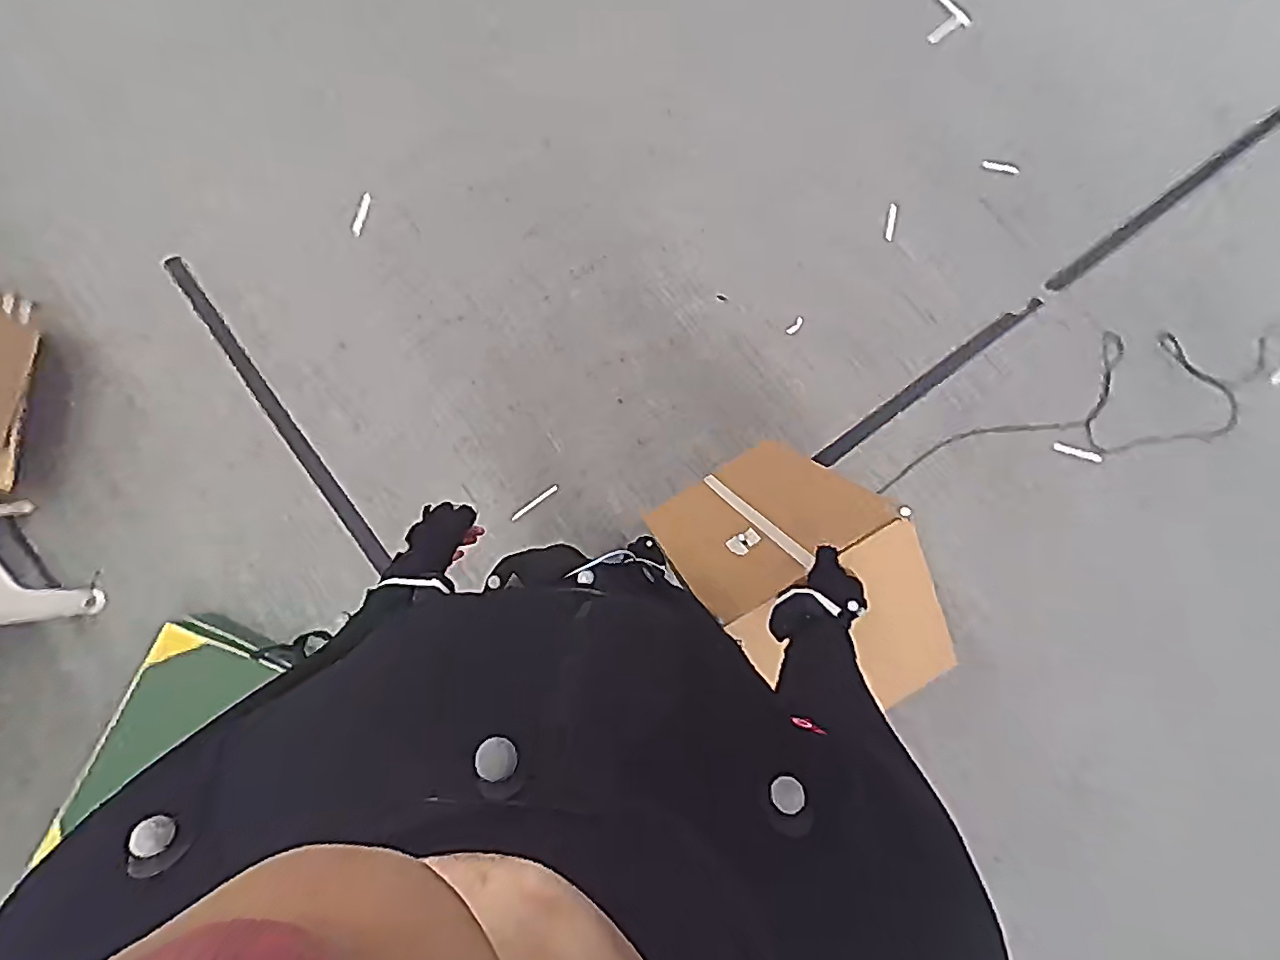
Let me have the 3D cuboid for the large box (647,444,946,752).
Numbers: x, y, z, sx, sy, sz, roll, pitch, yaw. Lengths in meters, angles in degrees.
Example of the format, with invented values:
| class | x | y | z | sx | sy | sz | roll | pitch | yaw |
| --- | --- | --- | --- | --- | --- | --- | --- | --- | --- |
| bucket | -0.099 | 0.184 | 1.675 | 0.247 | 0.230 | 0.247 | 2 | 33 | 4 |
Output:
| class | x | y | z | sx | sy | sz | roll | pitch | yaw |
| --- | --- | --- | --- | --- | --- | --- | --- | --- | --- |
| large box | 0.259 | 0.182 | 0.986 | 0.320 | 0.408 | 0.320 | -31 | 115 | -3 |
